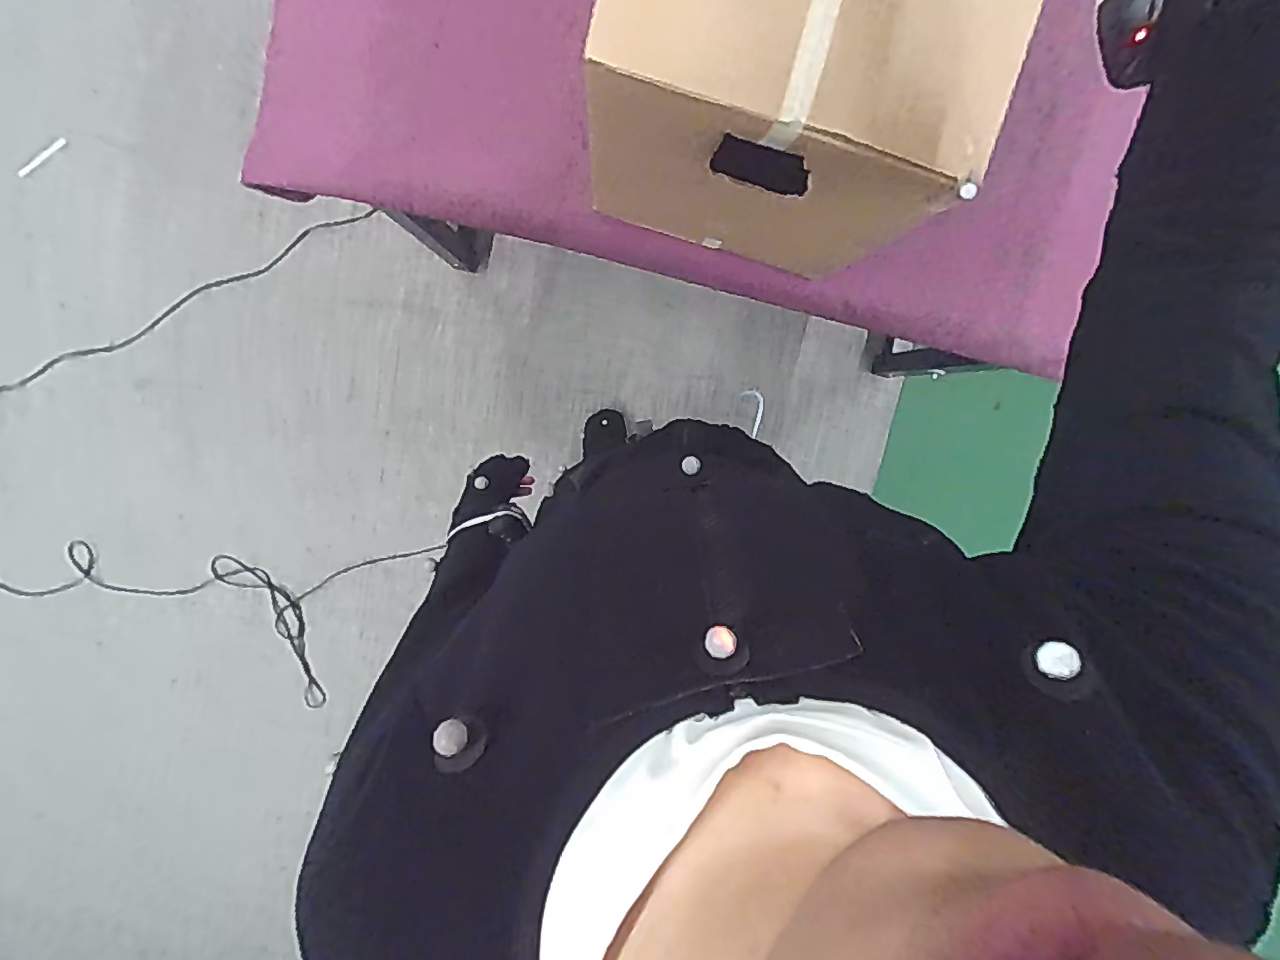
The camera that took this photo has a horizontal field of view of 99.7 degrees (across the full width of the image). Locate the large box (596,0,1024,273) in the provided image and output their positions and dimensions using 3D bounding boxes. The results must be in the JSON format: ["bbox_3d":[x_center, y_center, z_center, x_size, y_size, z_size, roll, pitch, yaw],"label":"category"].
[{"bbox_3d":[0.152,-0.479,0.539,0.320,0.320,0.408,15,98,-5],"label":"large box"}]
